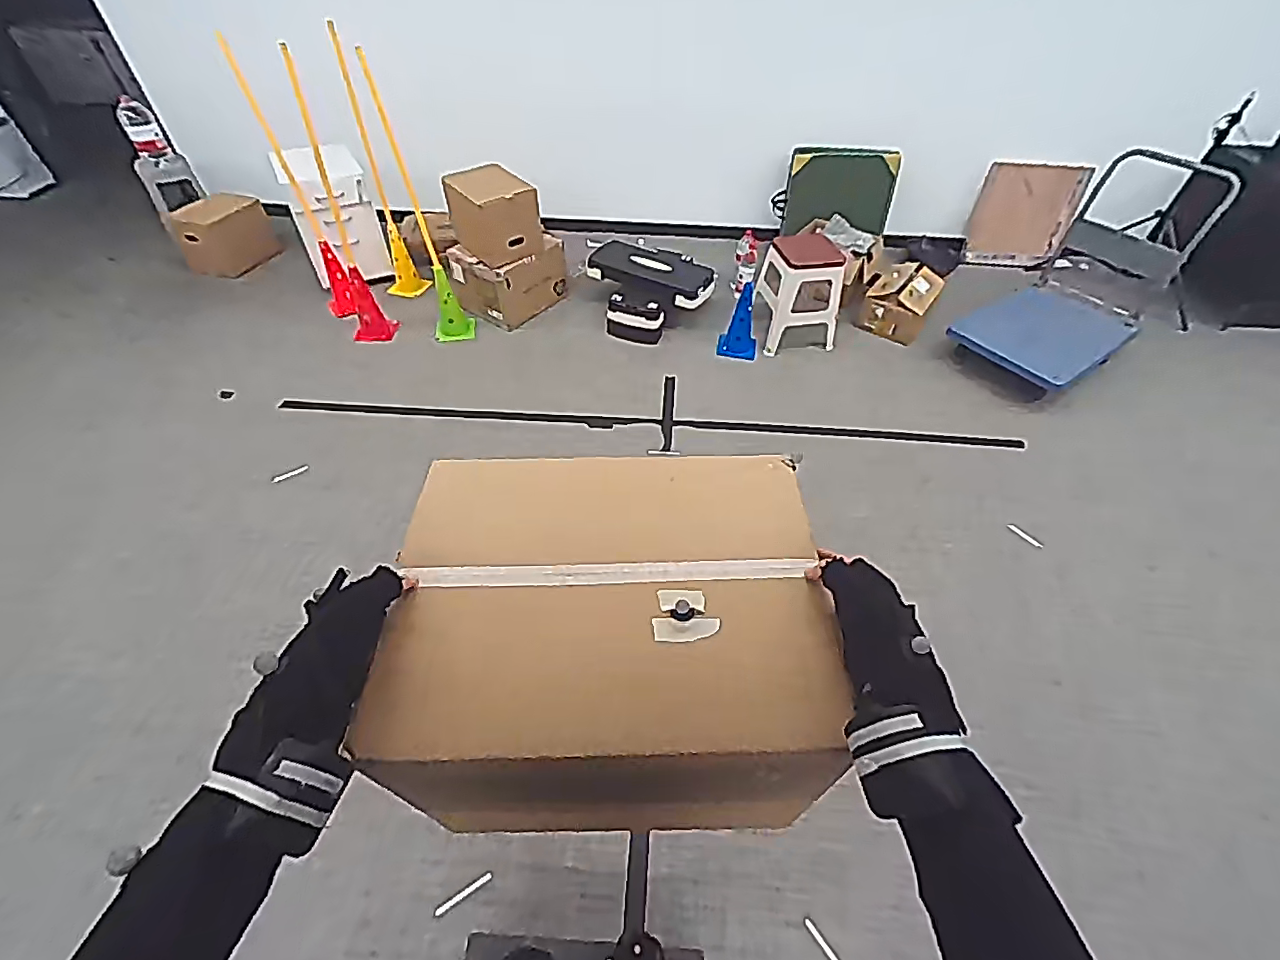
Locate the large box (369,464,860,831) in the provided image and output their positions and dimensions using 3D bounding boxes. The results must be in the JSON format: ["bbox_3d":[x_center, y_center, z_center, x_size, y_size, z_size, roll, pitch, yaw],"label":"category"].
[{"bbox_3d":[-0.024,0.199,0.638,0.408,0.320,0.320,-1,48,-1],"label":"large box"}]
